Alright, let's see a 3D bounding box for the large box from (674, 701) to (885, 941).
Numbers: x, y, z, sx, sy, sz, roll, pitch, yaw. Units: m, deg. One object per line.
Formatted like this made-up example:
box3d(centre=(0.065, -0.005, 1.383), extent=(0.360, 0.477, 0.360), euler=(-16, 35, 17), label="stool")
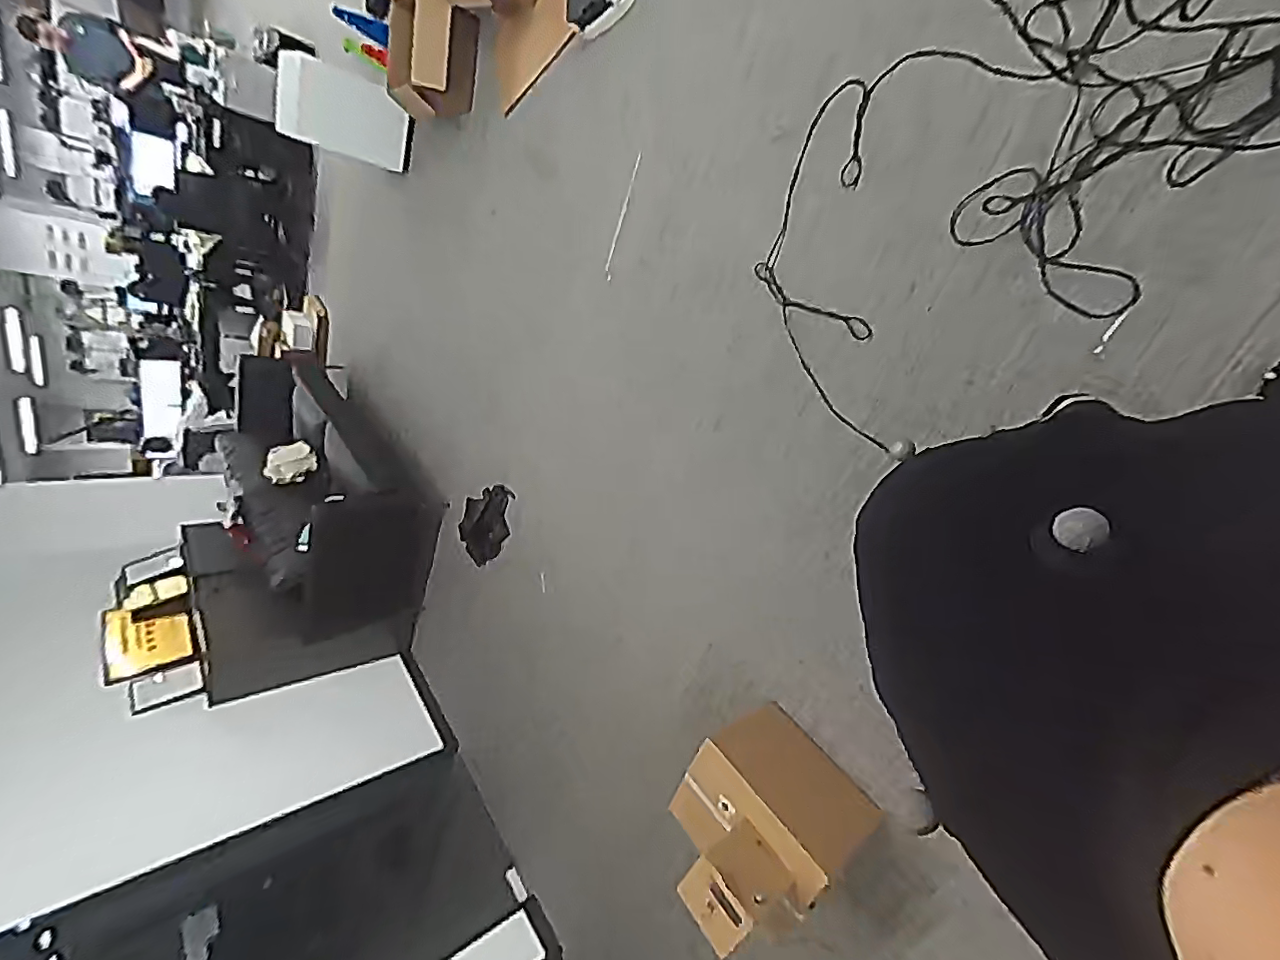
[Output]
box3d(centre=(0.373, 0.905, 1.491), extent=(0.408, 0.320, 0.320), euler=(41, 121, 38), label="large box")
